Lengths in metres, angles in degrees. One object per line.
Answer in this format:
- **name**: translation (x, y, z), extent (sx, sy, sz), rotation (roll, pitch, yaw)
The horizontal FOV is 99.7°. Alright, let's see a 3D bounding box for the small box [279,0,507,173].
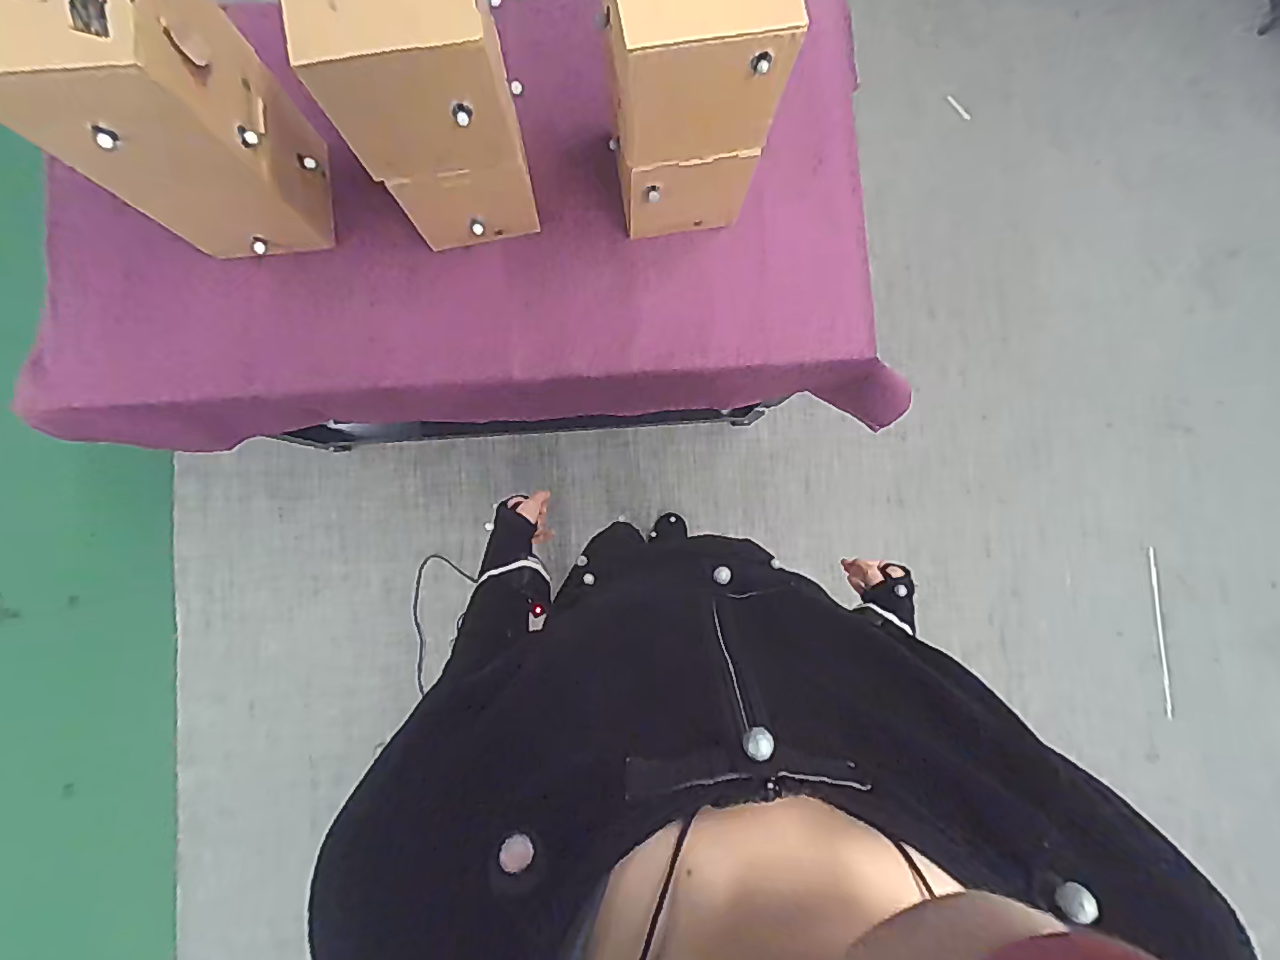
- **small box**: translation (-0.246, -0.459, 0.572), extent (0.179, 0.176, 0.168), rotation (-9, 86, -2)

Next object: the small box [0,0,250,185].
- **small box**: translation (-0.540, -0.434, 0.558), extent (0.179, 0.176, 0.168), rotation (-6, 87, -1)

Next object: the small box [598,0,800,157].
- **small box**: translation (0.049, -0.482, 0.583), extent (0.179, 0.176, 0.168), rotation (-10, 87, -3)

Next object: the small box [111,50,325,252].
- **small box**: translation (-0.546, -0.425, 0.722), extent (0.179, 0.176, 0.168), rotation (-6, 87, -2)

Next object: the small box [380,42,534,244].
- **small box**: translation (-0.249, -0.454, 0.735), extent (0.168, 0.176, 0.179), rotation (-11, 88, -2)
